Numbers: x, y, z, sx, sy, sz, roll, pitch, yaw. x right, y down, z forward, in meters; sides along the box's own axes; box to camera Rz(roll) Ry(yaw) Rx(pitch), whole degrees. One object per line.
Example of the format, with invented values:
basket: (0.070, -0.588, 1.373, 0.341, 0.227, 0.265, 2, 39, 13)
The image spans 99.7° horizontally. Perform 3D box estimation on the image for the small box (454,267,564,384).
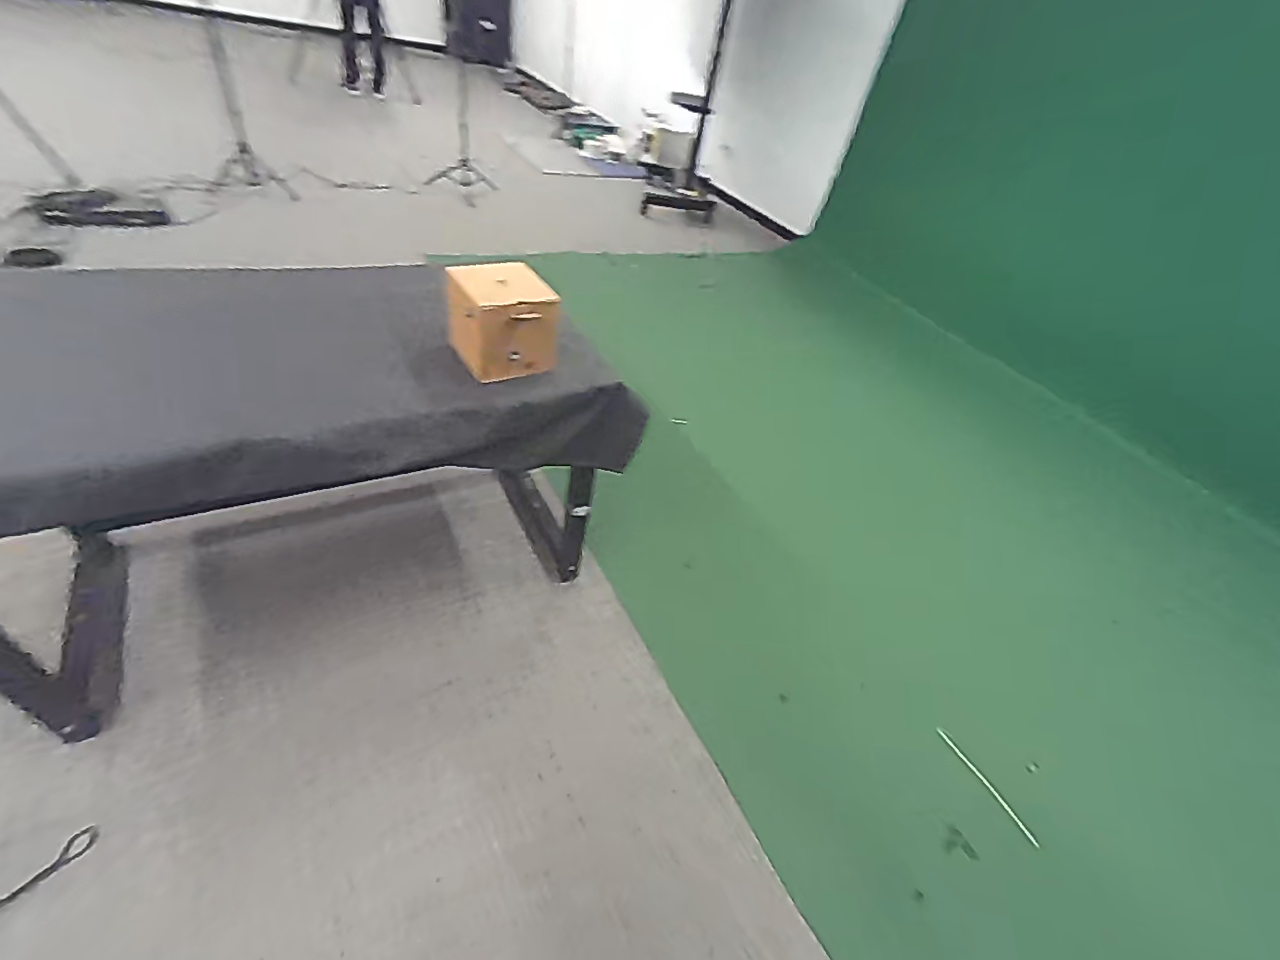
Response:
small box: (-0.277, -0.323, 1.126, 0.168, 0.176, 0.179, -18, 51, -31)
